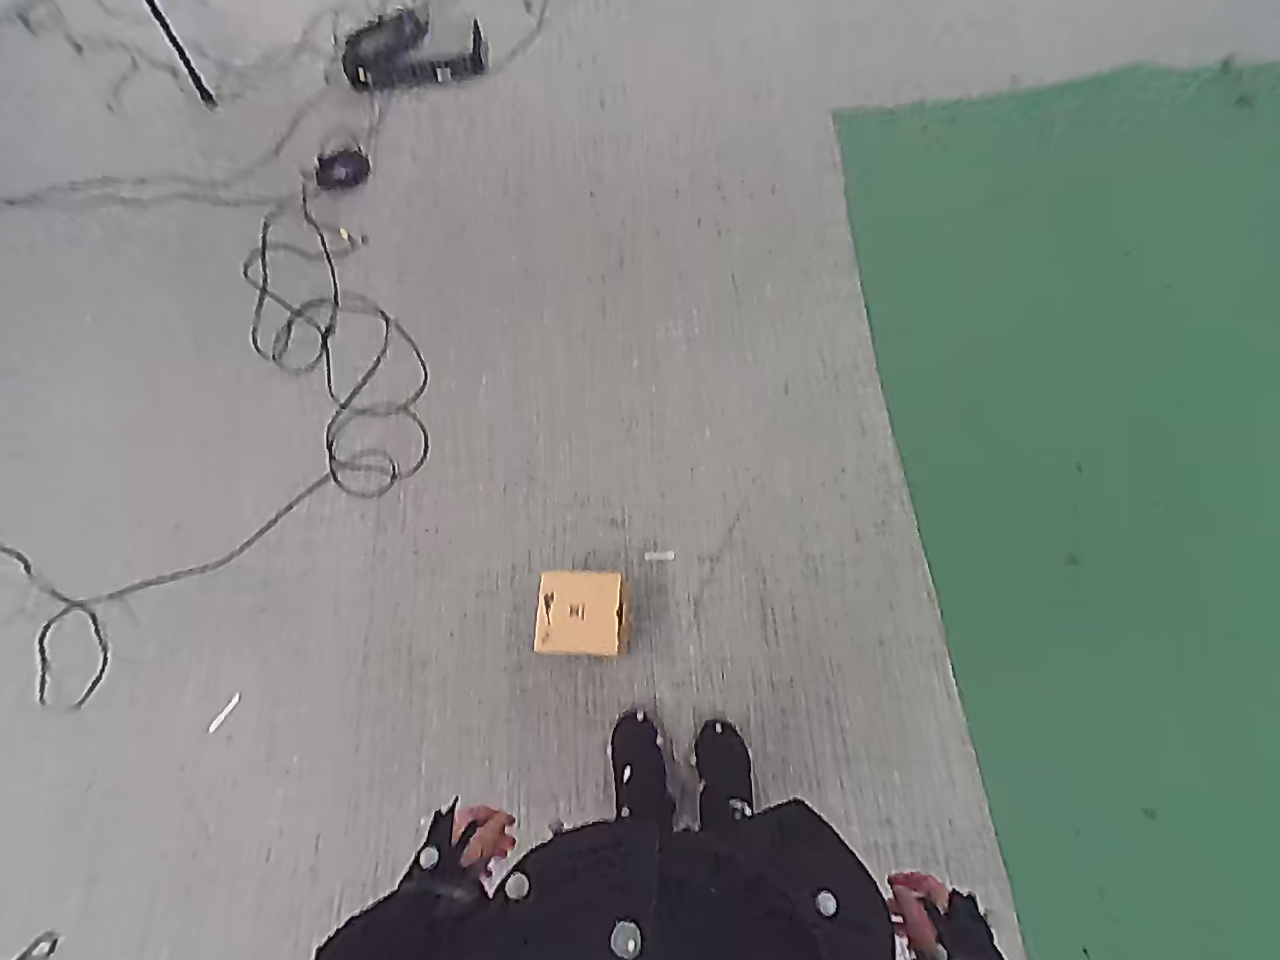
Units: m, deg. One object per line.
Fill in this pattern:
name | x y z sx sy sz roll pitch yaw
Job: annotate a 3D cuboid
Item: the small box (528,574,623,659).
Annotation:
small box | -0.133 0.303 1.191 0.179 0.176 0.168 1 72 5
